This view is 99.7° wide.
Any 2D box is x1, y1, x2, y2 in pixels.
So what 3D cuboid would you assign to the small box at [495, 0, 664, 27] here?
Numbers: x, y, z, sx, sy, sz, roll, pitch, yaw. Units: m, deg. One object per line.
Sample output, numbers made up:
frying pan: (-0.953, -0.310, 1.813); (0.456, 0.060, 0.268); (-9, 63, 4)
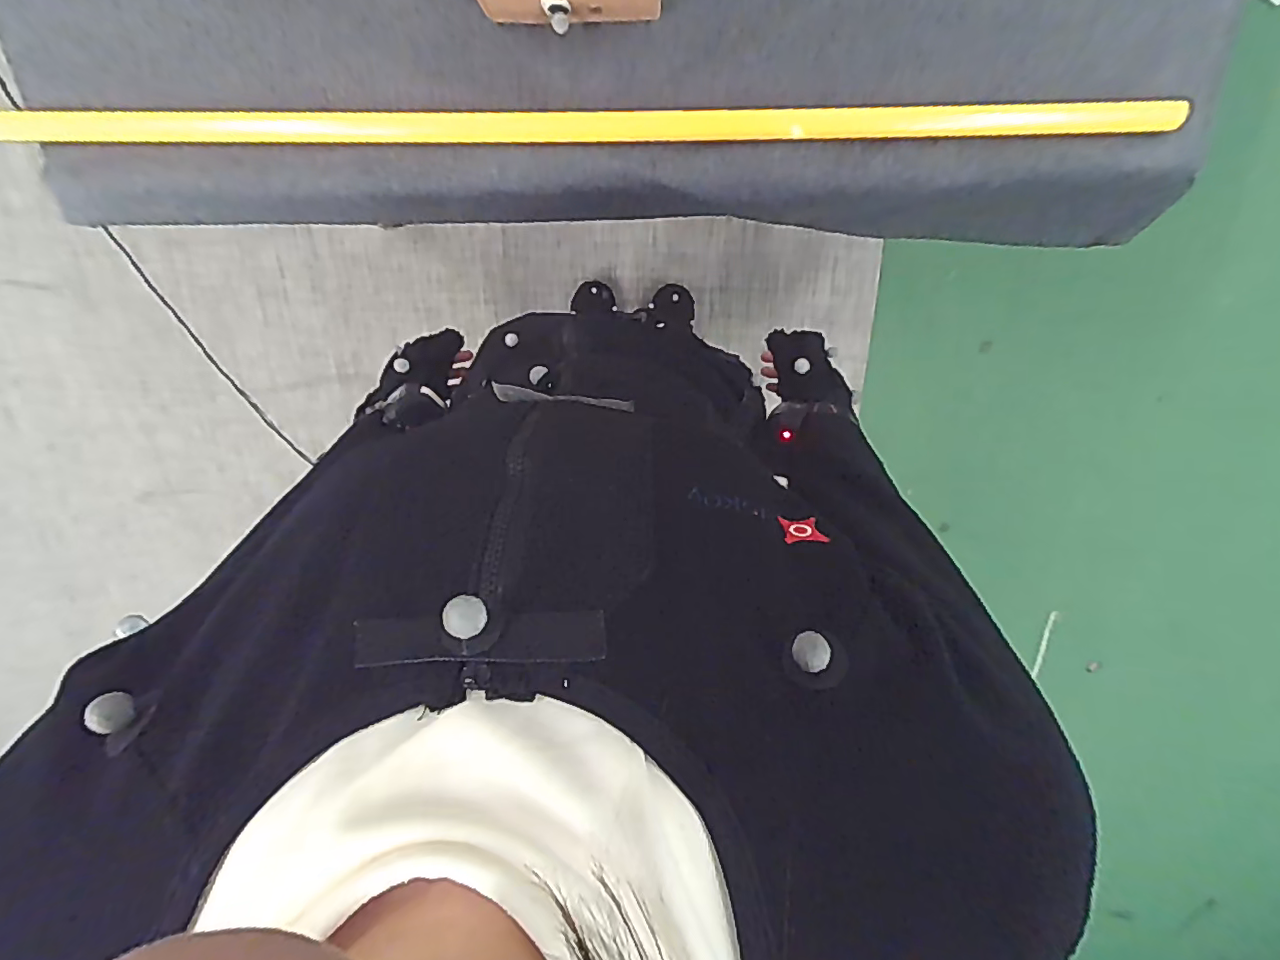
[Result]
small box: (-0.063, -0.501, 0.426); (0.168, 0.176, 0.179); (-1, 112, 3)
